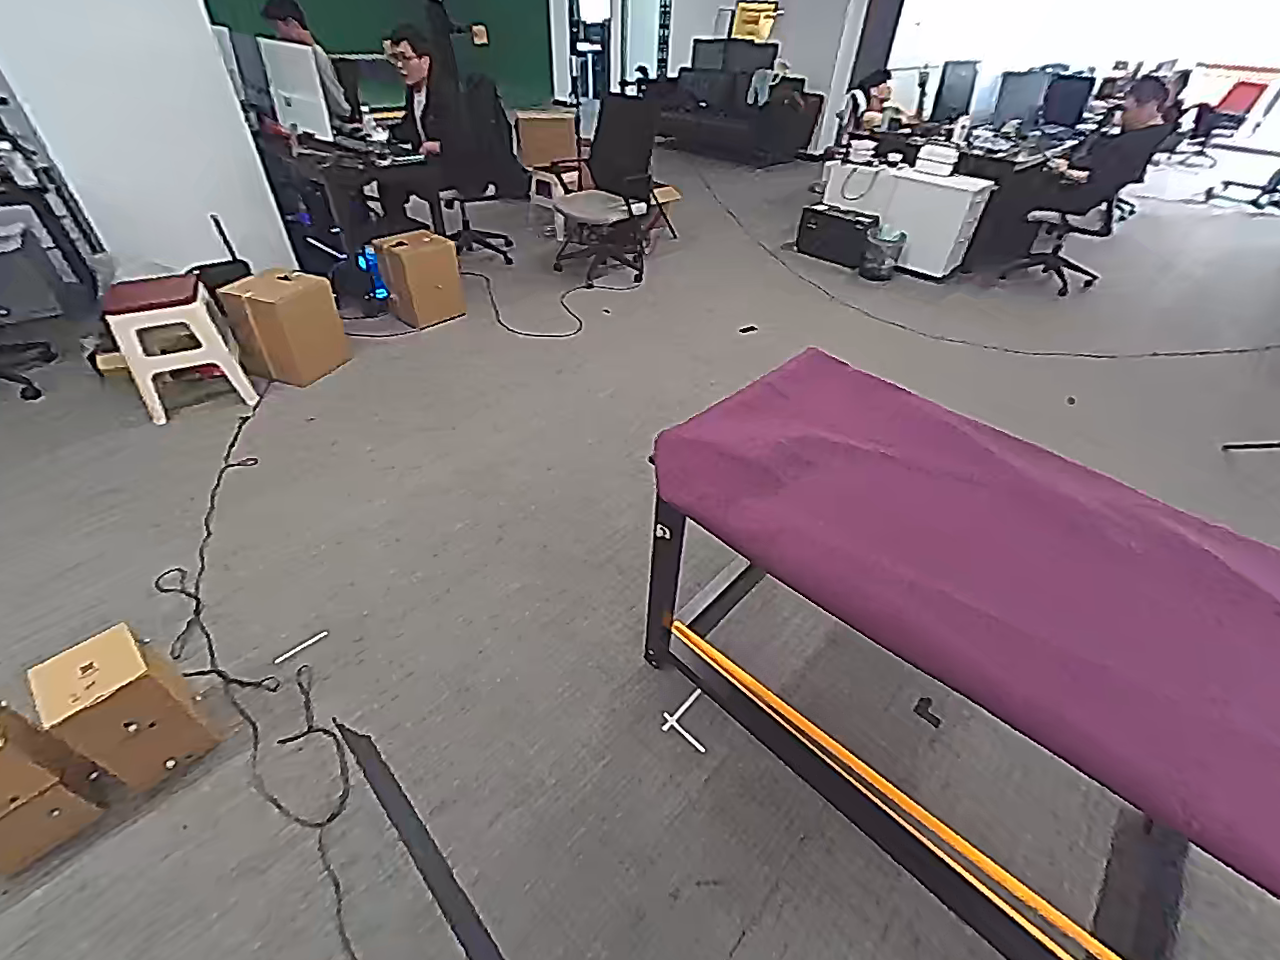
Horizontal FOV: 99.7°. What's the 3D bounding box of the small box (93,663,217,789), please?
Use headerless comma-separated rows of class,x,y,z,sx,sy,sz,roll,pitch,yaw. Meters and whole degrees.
small box,-1.138,0.574,1.261,0.179,0.176,0.168,35,50,30

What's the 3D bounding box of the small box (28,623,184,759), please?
small box,-1.129,0.450,1.152,0.179,0.176,0.168,33,50,29

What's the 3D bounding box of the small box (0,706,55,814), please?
small box,-1.289,0.550,1.032,0.179,0.176,0.168,29,47,28
